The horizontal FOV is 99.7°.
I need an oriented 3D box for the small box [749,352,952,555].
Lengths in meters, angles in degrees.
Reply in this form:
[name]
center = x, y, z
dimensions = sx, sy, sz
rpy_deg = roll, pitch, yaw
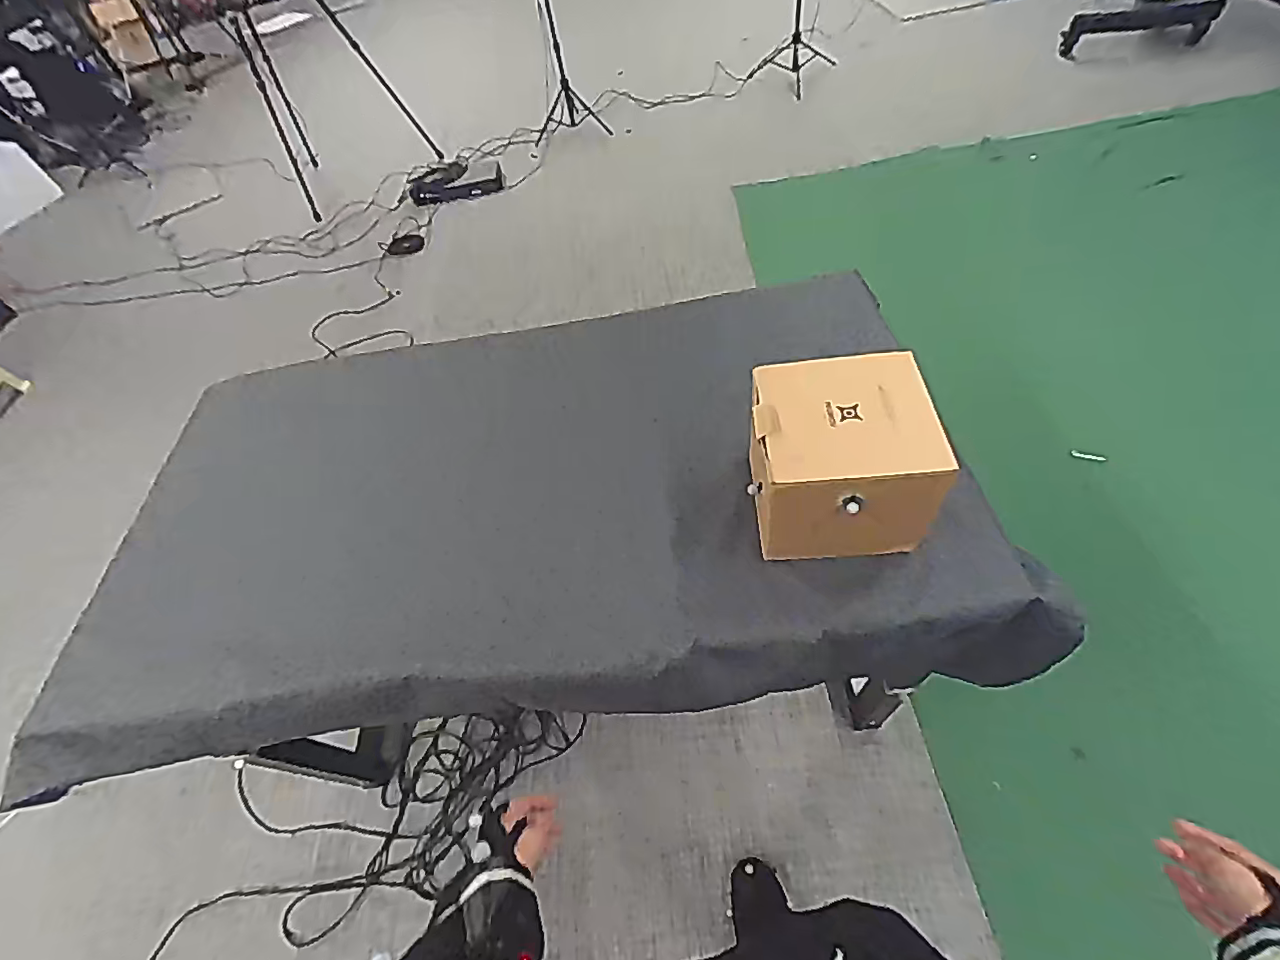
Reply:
[small box]
center = 0.221, -0.023, 0.626
dimensions = 0.179, 0.176, 0.168
rpy_deg = -4, 55, 7
